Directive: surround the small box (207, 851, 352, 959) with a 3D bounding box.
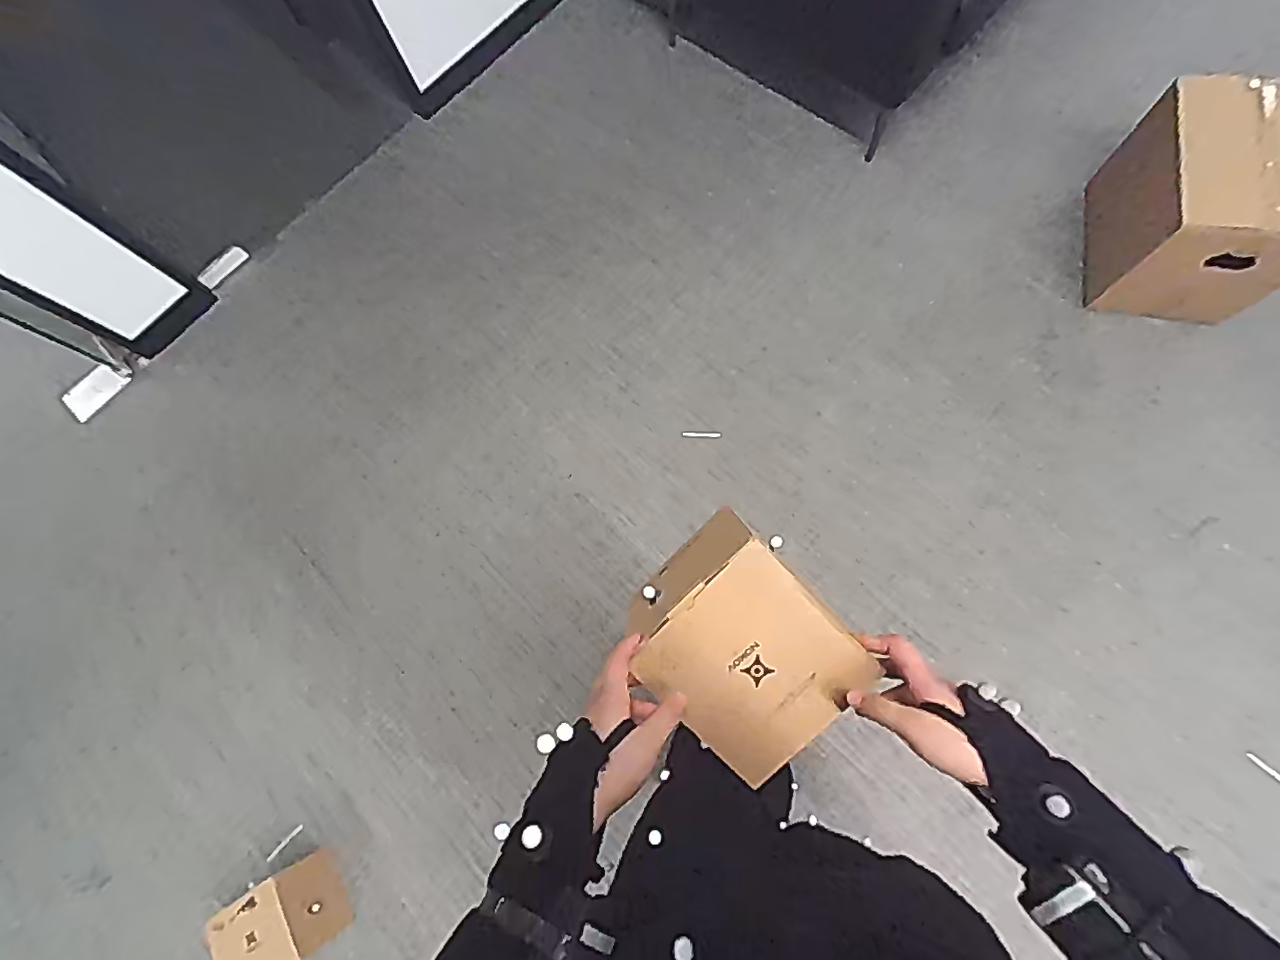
[{"bbox_3d":[-0.760,0.952,1.160,0.168,0.176,0.179,-34,74,-4],"label":"small box"}]

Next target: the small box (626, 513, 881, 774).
[{"bbox_3d":[0.103,0.150,0.568,0.168,0.176,0.179,-44,94,5],"label":"small box"}]
